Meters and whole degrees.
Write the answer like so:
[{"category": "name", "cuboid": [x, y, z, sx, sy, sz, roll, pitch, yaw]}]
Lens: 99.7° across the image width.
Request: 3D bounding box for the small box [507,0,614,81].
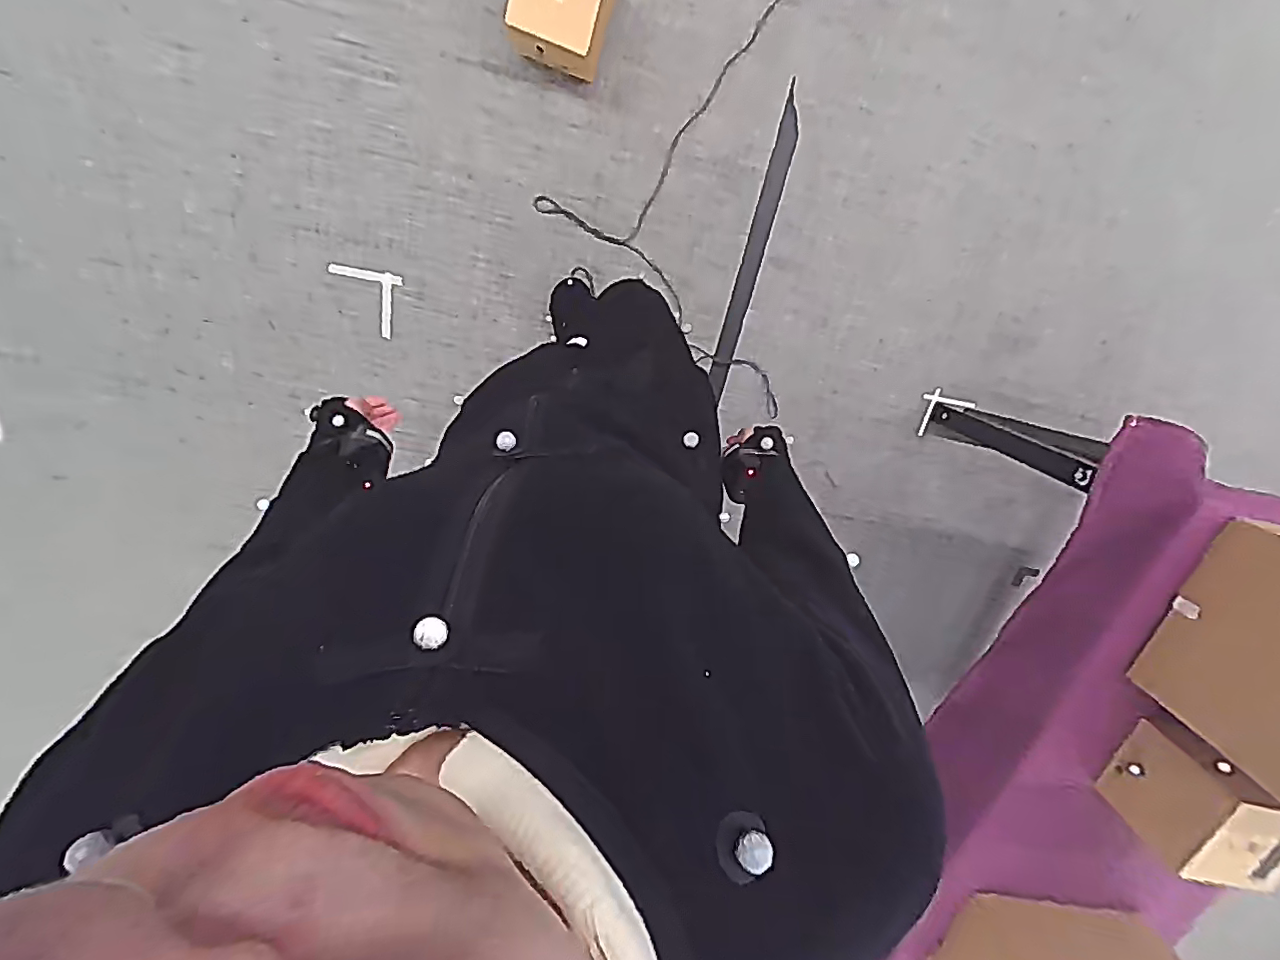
[{"category": "small box", "cuboid": [-0.152, -0.946, 1.085, 0.168, 0.176, 0.179, 17, 109, -7]}]
